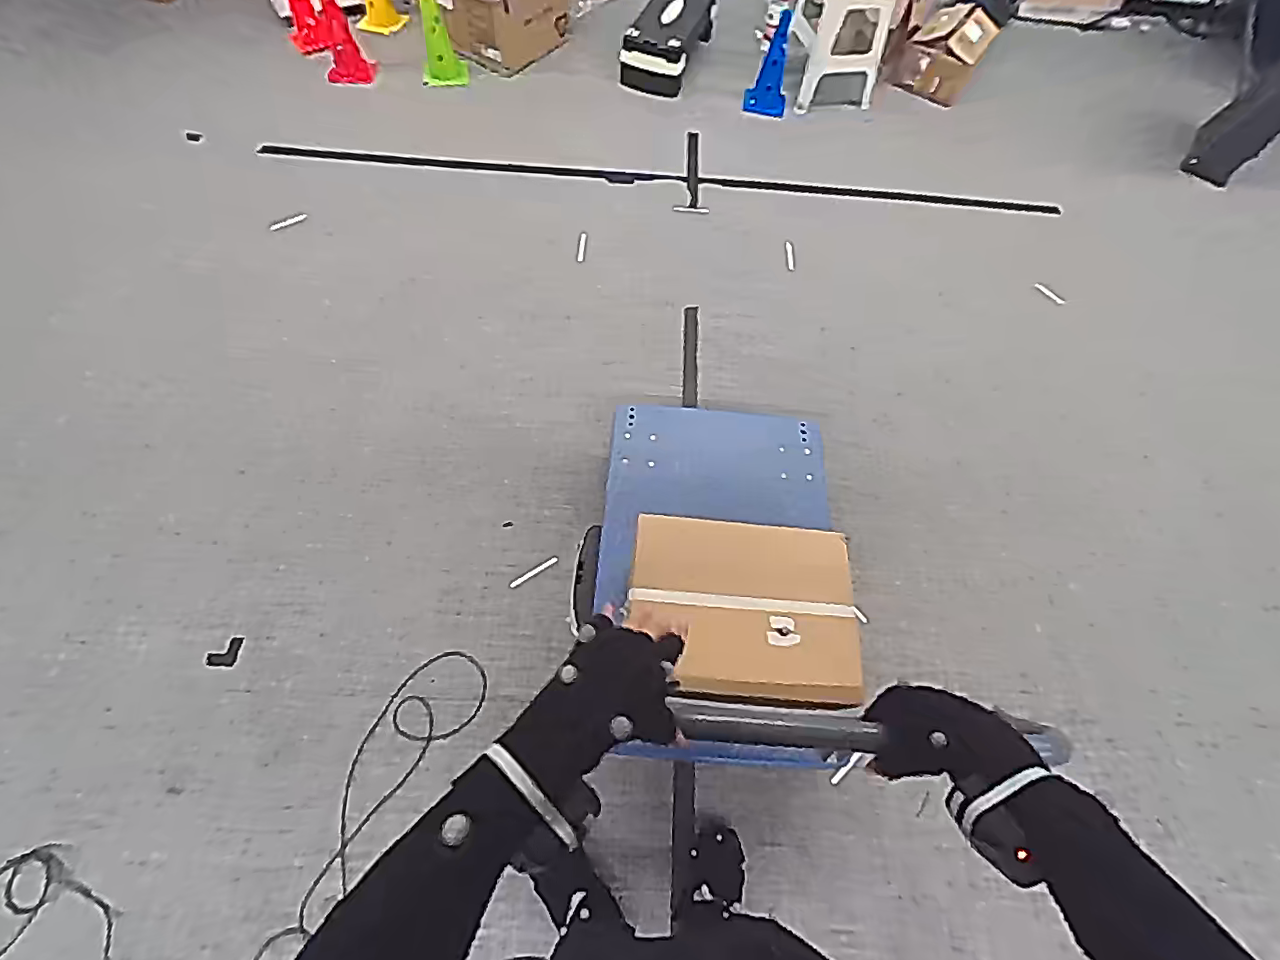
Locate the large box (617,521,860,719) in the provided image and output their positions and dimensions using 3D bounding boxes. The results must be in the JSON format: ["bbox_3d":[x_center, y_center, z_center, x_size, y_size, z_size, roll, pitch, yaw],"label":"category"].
[{"bbox_3d":[0.166,0.297,1.093,0.408,0.320,0.320,5,63,-3],"label":"large box"}]
